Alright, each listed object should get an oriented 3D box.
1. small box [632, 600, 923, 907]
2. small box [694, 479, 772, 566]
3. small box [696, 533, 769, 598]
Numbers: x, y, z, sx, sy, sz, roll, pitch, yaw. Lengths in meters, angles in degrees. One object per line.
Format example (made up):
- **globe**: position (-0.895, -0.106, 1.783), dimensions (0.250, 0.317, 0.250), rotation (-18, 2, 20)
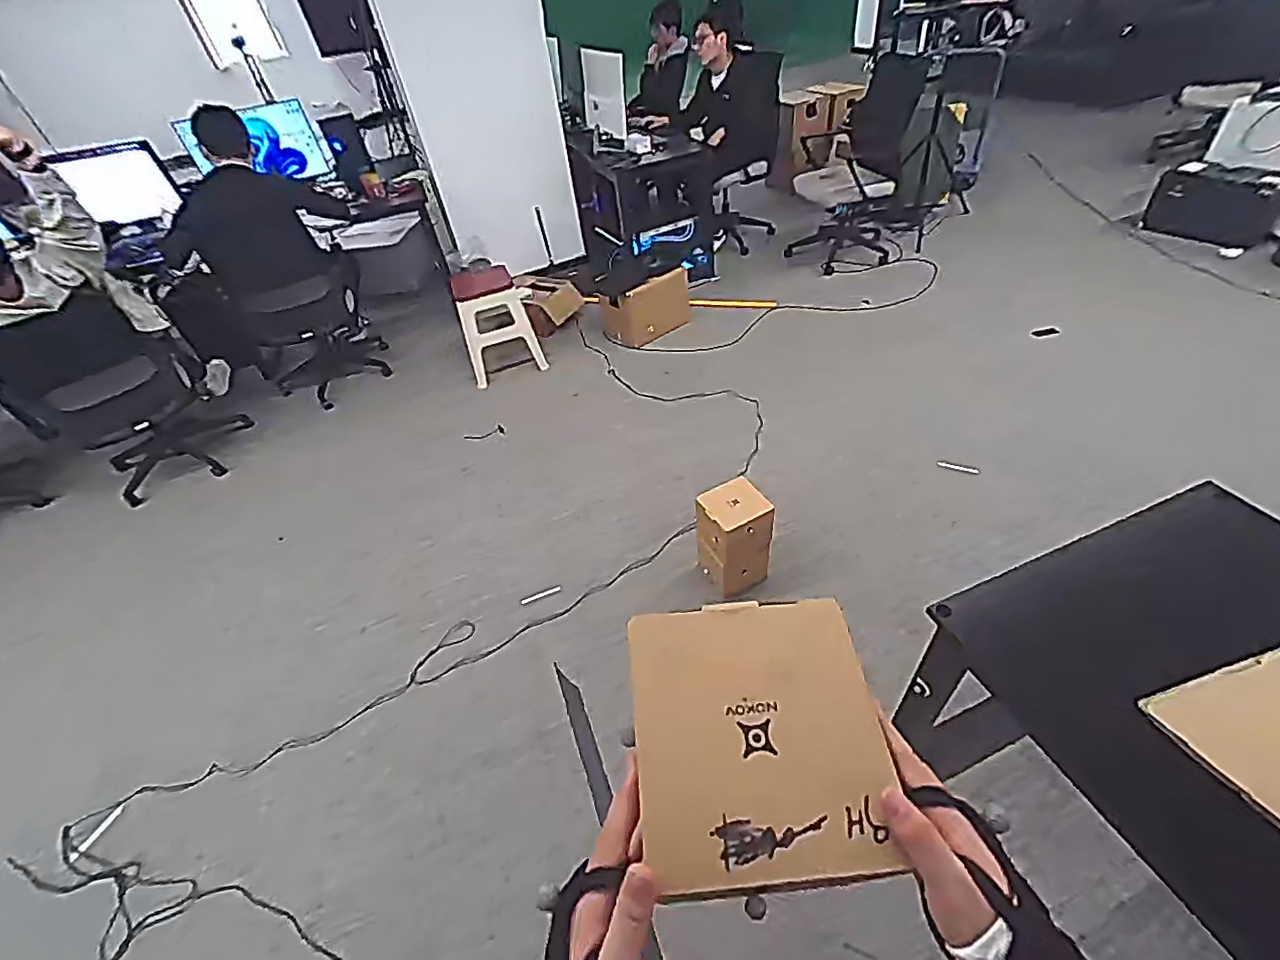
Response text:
- **small box**: position (0.081, 0.217, 0.427), dimensions (0.168, 0.176, 0.179), rotation (-5, 50, -1)
- **small box**: position (0.285, 0.133, 1.660), dimensions (0.179, 0.176, 0.168), rotation (-24, 46, -17)
- **small box**: position (0.299, 0.252, 1.769), dimensions (0.179, 0.176, 0.168), rotation (-23, 45, -13)
